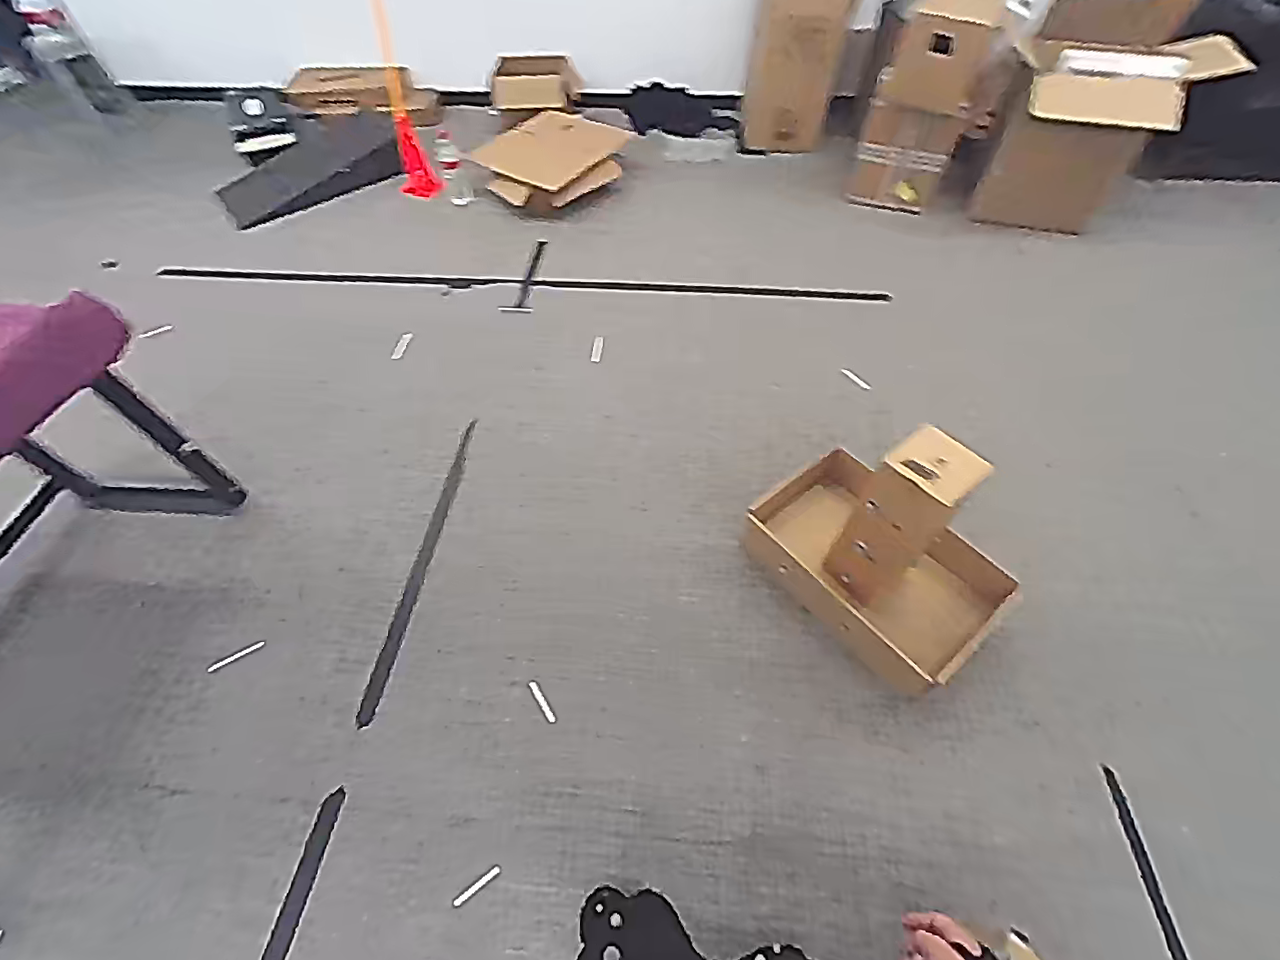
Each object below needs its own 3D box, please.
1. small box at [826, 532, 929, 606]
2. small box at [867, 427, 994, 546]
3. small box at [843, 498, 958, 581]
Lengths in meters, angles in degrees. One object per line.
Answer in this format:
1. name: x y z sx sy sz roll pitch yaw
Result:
1. small box: 0.644 0.214 1.490 0.179 0.176 0.168 -30 58 -19
2. small box: 0.645 0.018 1.229 0.179 0.176 0.168 -31 59 -22
3. small box: 0.644 0.118 1.359 0.179 0.176 0.168 -31 59 -19
